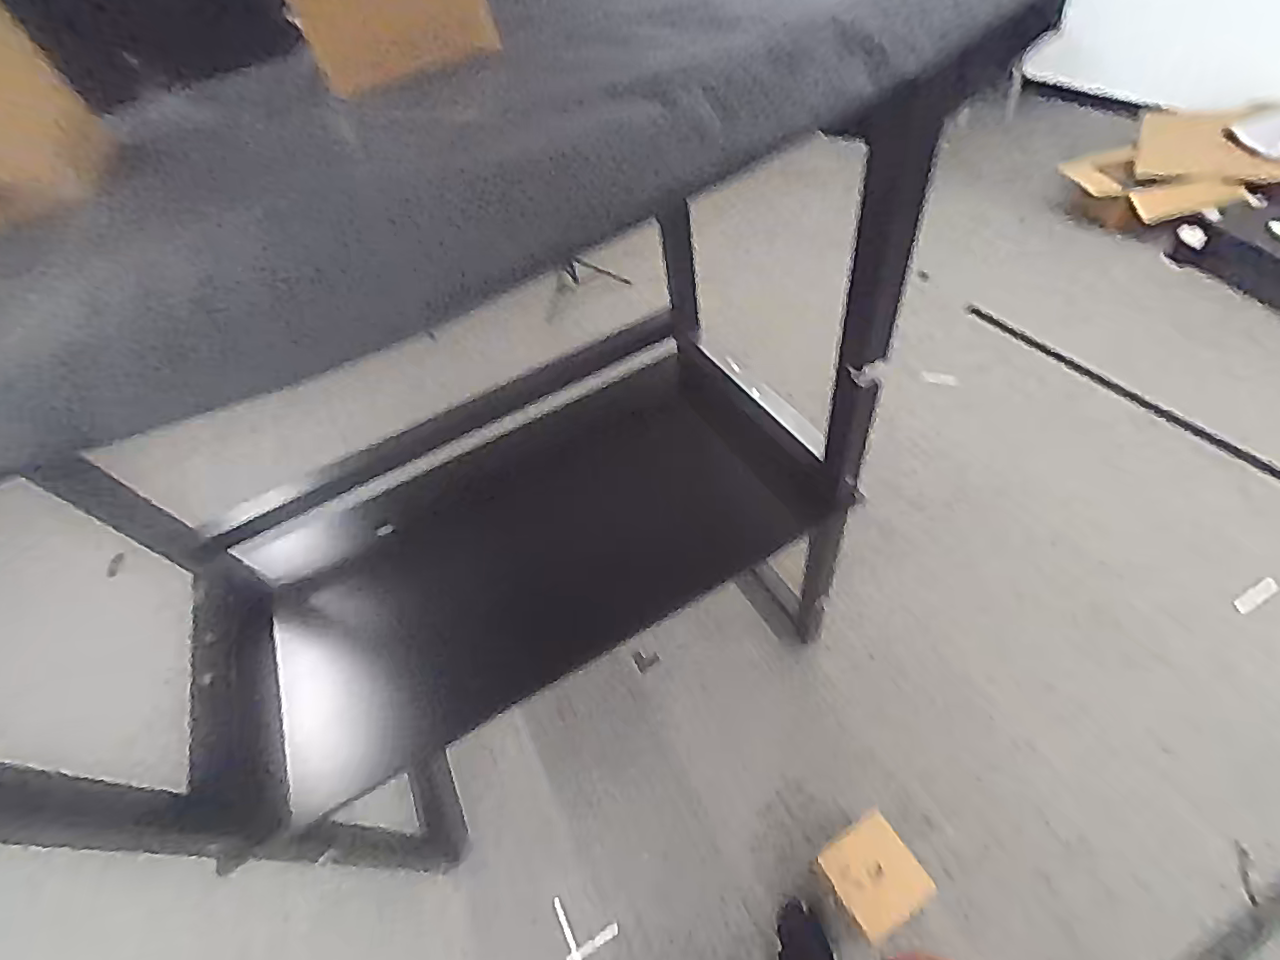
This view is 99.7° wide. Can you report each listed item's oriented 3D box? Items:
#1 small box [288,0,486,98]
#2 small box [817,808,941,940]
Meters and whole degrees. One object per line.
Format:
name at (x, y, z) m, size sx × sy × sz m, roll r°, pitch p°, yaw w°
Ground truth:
small box at (-0.272, -0.524, 0.544) m, size 0.179 × 0.176 × 0.168 m, roll -26°, pitch 52°, yaw -7°
small box at (0.507, 0.853, 1.179) m, size 0.179 × 0.176 × 0.168 m, roll -30°, pitch 53°, yaw -11°
